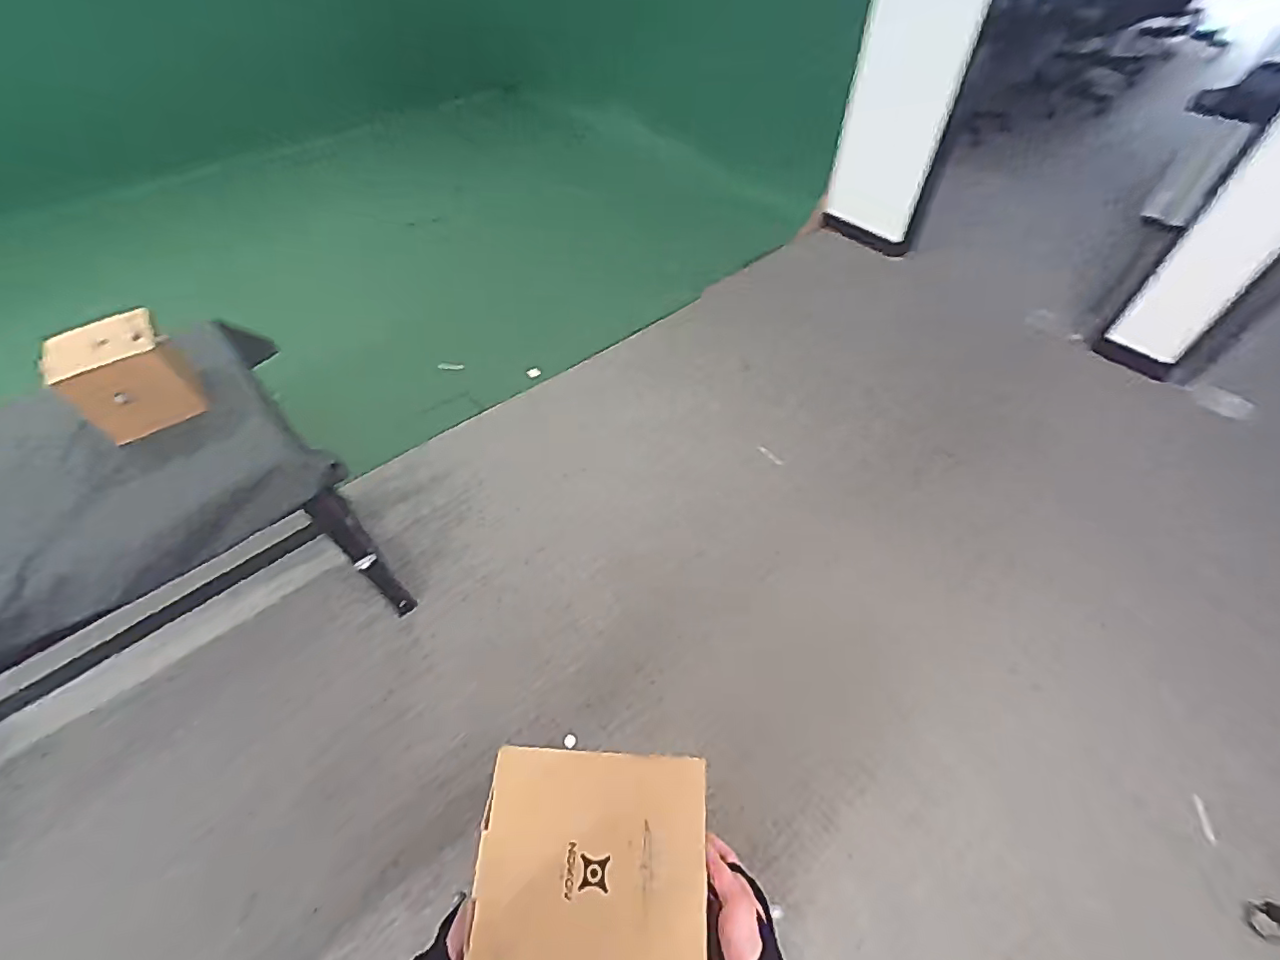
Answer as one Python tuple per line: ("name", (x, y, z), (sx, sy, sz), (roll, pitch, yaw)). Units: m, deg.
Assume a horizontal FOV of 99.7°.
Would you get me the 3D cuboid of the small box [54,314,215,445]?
("small box", (-1.030, -0.202, 1.110), (0.179, 0.176, 0.168), (-31, 58, -18))
